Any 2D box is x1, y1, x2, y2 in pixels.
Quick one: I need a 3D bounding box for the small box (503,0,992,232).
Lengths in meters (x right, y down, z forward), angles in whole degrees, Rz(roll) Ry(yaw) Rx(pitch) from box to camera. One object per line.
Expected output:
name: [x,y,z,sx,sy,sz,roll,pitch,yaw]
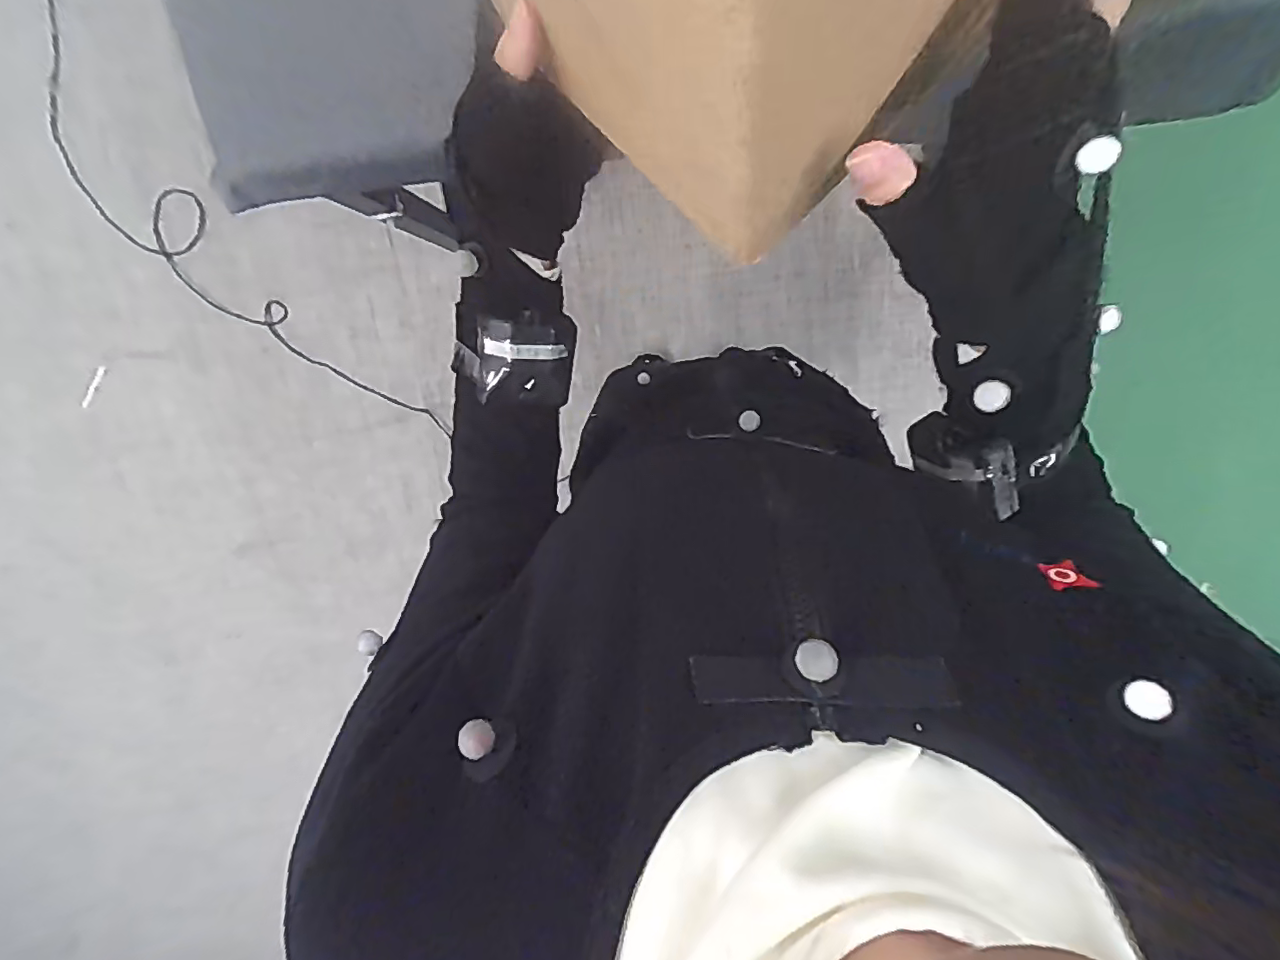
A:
small box: [0.037,-0.227,0.184,0.179,0.176,0.168,45,96,6]
